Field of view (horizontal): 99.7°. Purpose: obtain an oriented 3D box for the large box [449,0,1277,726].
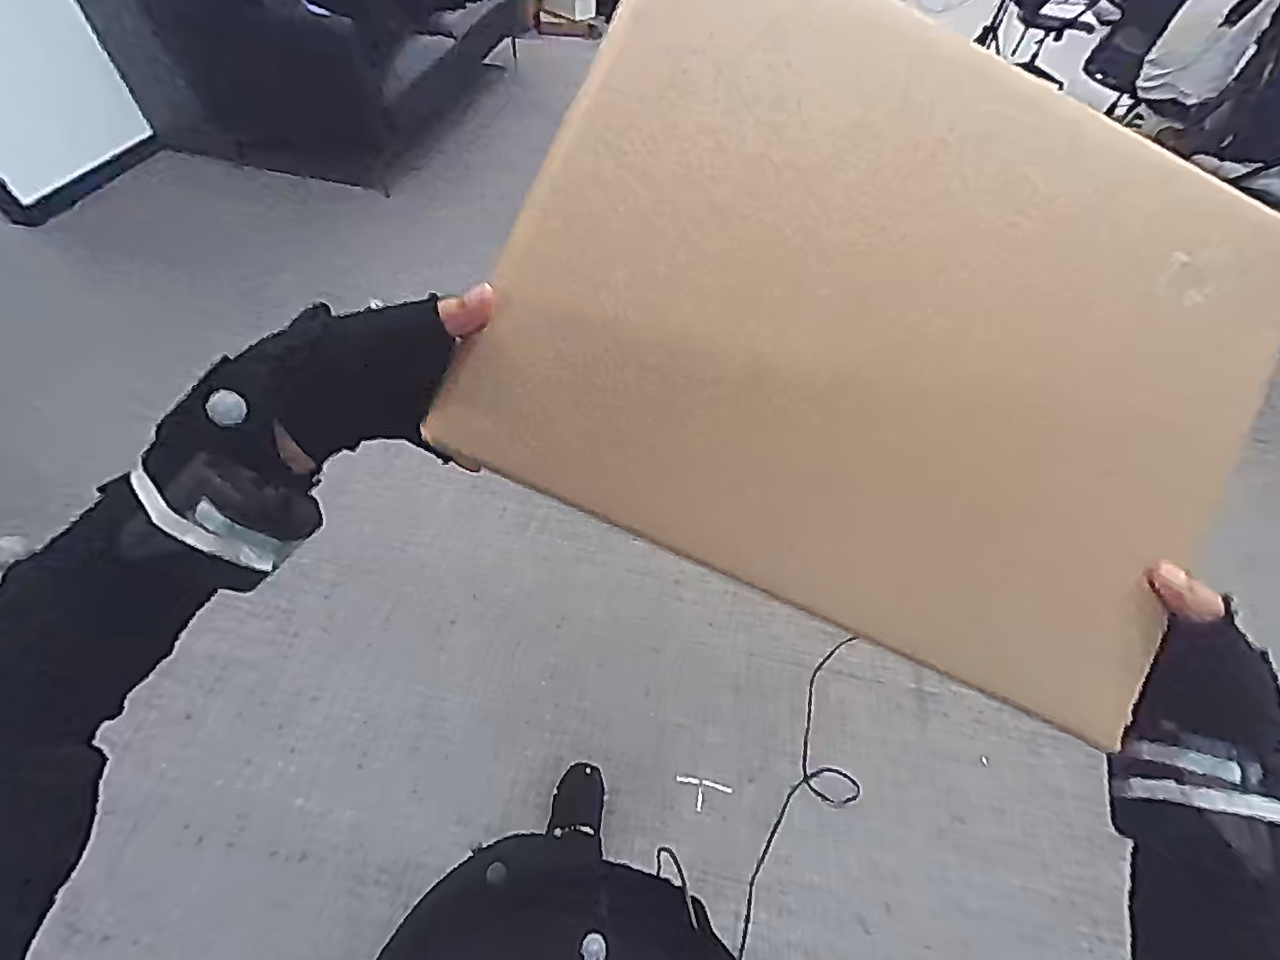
[{"bbox_3d":[0.124,-0.073,0.443,0.408,0.320,0.320,26,87,-3],"label":"large box"}]
